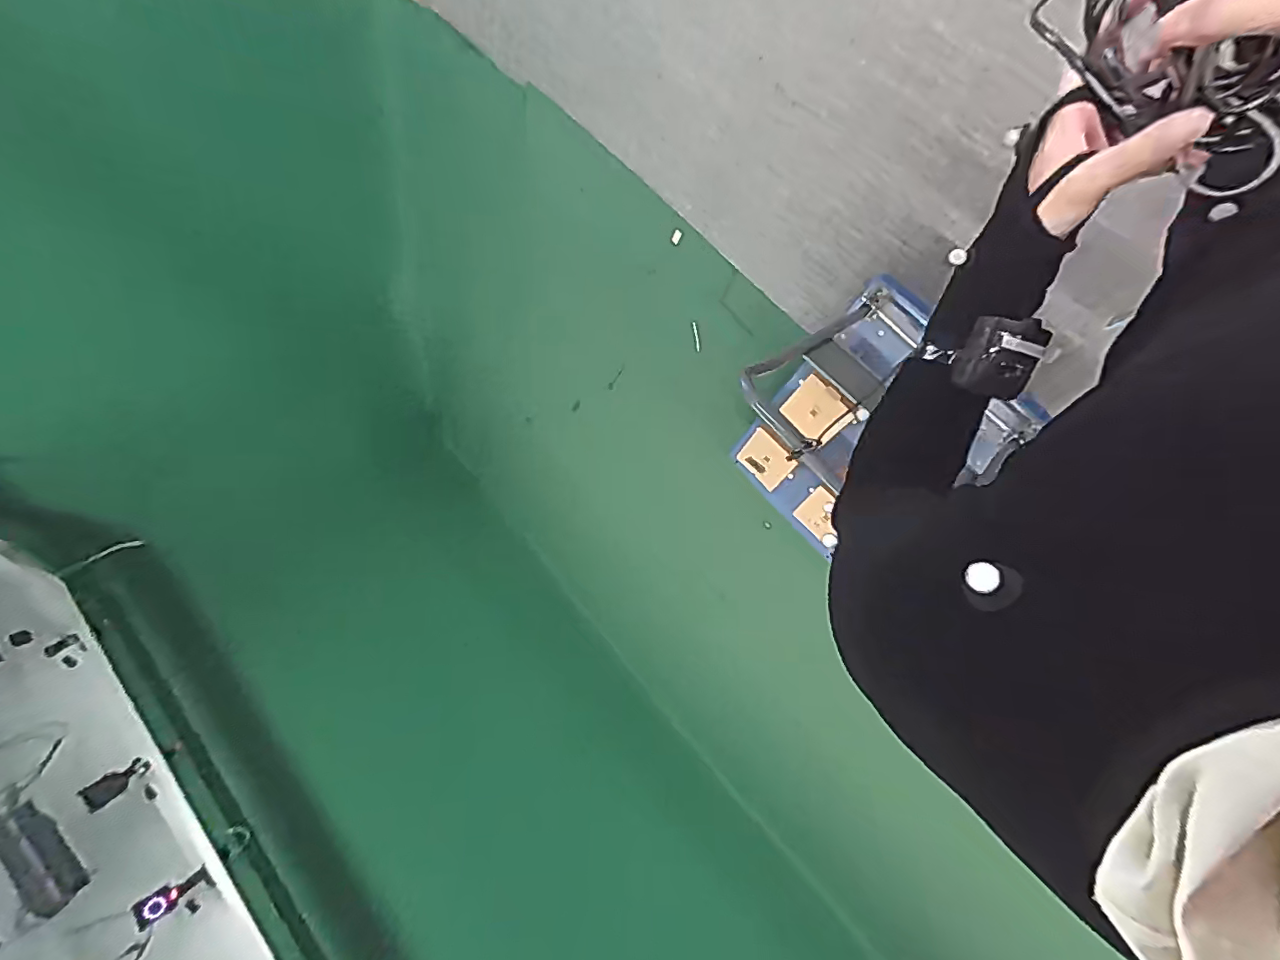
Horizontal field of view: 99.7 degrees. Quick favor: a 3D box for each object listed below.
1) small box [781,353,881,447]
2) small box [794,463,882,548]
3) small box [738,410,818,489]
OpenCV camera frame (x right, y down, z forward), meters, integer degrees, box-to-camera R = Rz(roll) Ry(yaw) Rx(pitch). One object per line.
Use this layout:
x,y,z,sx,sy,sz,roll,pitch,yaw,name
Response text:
0.550,-0.231,1.553,0.168,0.176,0.179,49,145,11,small box
0.632,0.077,1.709,0.168,0.176,0.179,47,145,15,small box
0.461,-0.106,1.769,0.168,0.176,0.179,47,144,13,small box
